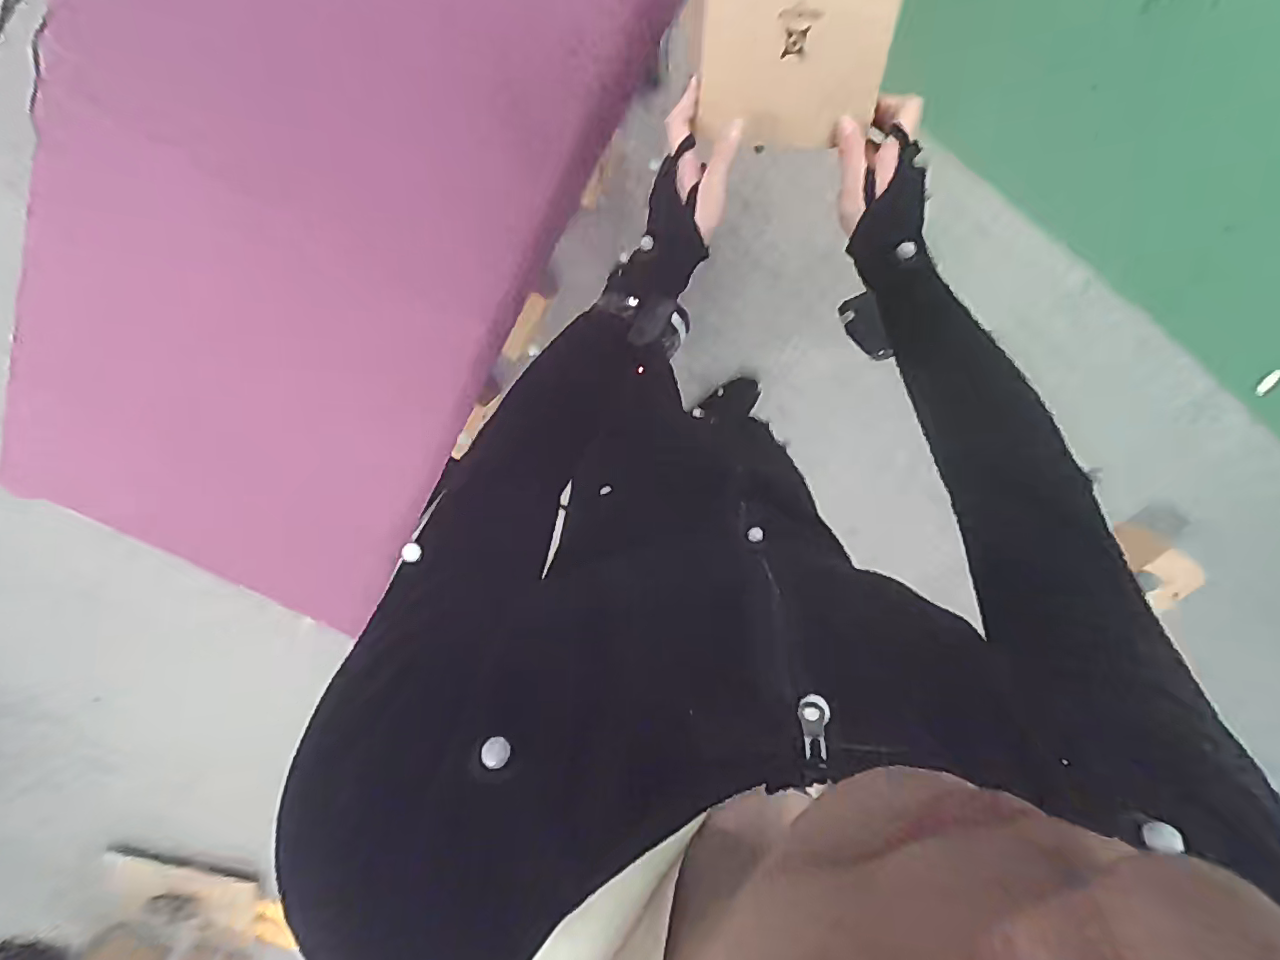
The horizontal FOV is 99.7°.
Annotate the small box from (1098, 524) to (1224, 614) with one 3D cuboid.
[{"bbox_3d":[1.536,0.255,1.609,0.179,0.176,0.168,32,111,-11],"label":"small box"}]

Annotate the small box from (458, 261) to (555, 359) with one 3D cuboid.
[{"bbox_3d":[-0.332,-0.442,1.384,0.168,0.176,0.179,31,112,-10],"label":"small box"}]

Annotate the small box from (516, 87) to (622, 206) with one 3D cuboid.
[{"bbox_3d":[-0.154,-0.750,1.238,0.179,0.176,0.168,27,112,-8],"label":"small box"}]

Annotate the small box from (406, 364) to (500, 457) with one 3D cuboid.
[{"bbox_3d":[-0.511,-0.198,1.501,0.168,0.176,0.179,29,112,-10],"label":"small box"}]
